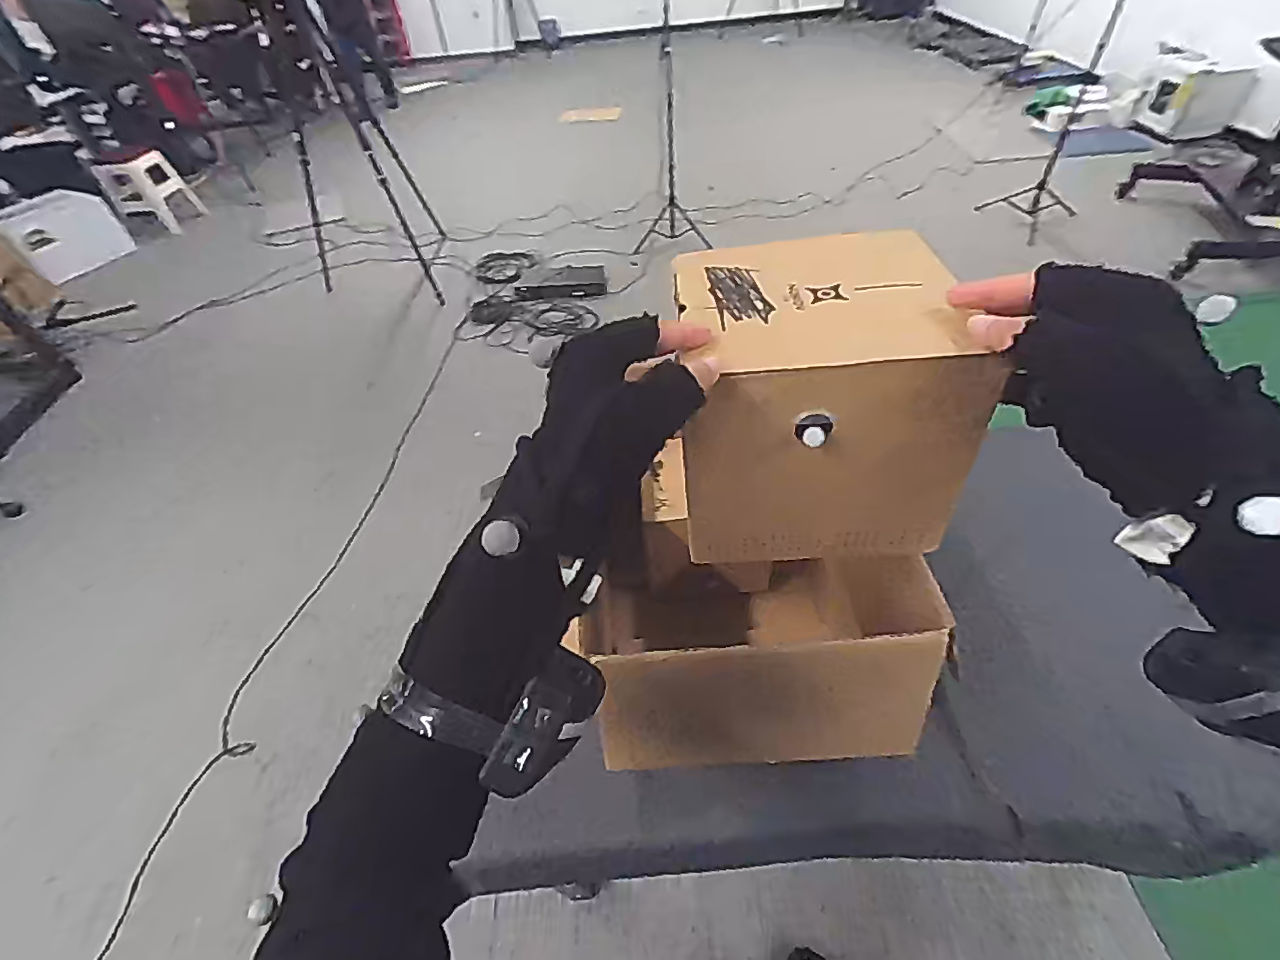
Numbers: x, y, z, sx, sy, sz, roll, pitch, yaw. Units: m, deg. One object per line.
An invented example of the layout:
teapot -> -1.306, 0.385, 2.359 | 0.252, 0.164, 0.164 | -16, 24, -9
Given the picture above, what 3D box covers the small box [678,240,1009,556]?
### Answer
small box -> 0.122, -0.056, 0.402 | 0.179, 0.176, 0.168 | -3, 45, 6
